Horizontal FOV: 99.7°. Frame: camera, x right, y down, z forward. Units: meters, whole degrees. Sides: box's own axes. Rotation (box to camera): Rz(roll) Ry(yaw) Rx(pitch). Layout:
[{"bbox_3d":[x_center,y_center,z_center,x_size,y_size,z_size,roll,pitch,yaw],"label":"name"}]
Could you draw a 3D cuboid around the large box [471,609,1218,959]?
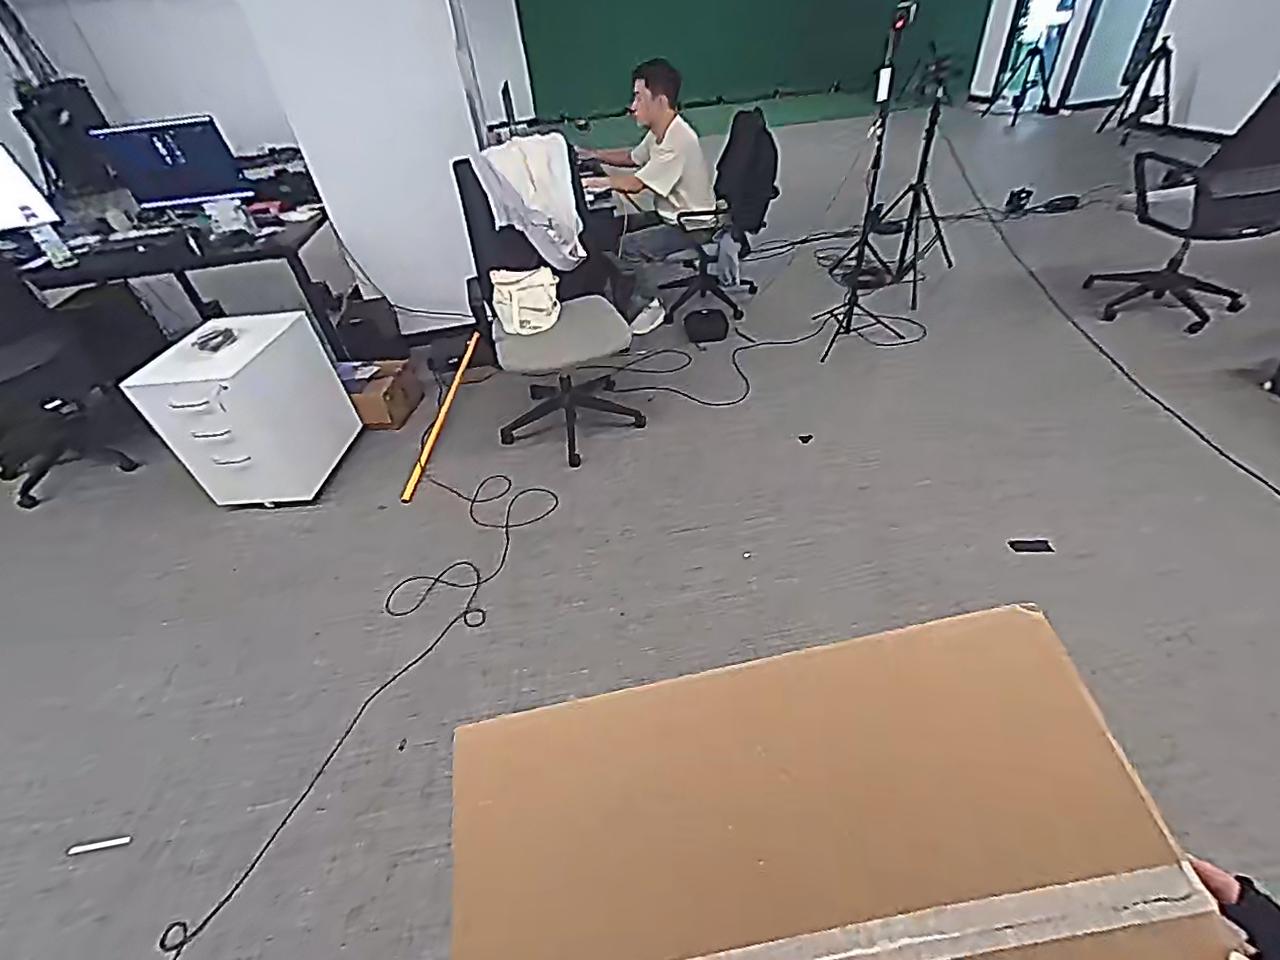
[{"bbox_3d":[0.120,0.336,0.431,0.408,0.320,0.320,-14,60,3],"label":"large box"}]
